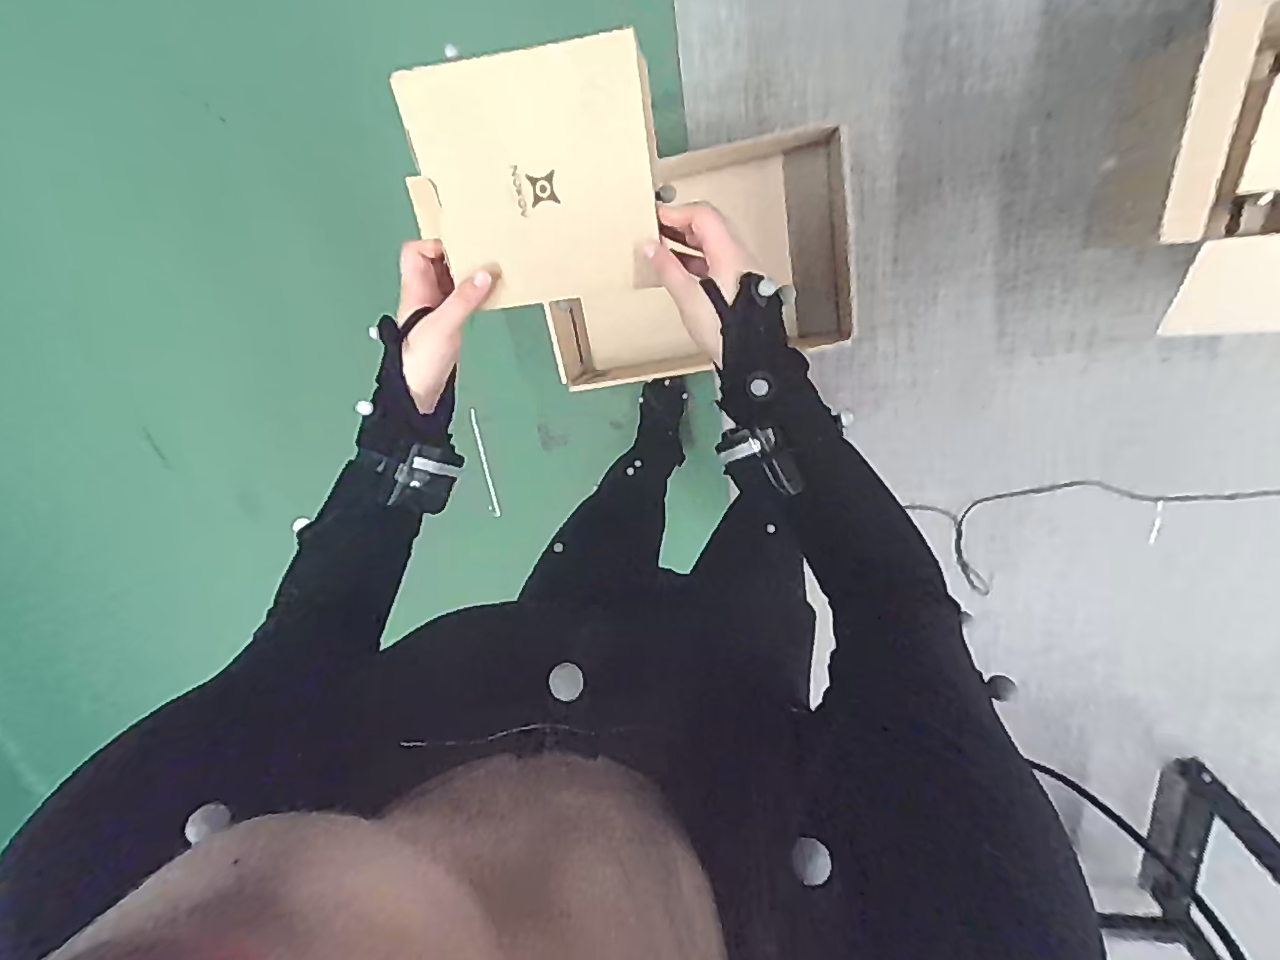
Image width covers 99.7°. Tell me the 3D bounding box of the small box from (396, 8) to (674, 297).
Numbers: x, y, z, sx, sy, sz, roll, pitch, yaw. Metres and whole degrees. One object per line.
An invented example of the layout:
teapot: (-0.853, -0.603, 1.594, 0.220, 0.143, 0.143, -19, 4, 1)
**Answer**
small box: (-0.066, -0.272, 0.466, 0.179, 0.176, 0.168, -6, 122, 8)
